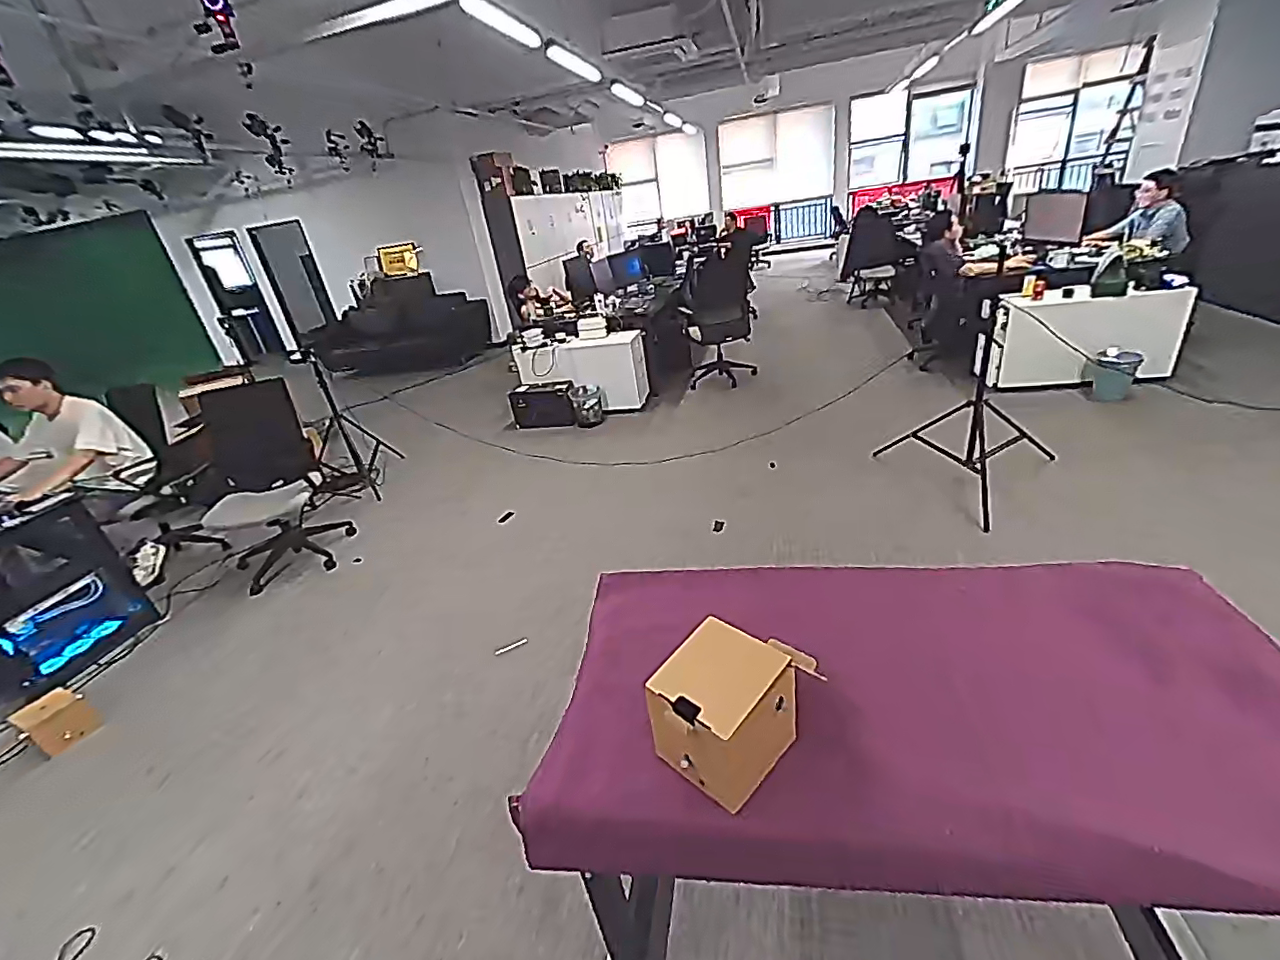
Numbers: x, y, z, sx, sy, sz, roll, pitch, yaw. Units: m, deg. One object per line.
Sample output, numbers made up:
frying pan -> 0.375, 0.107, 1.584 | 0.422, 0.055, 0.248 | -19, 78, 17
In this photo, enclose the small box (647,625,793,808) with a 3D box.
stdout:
small box -> 0.134, 0.379, 0.884 | 0.179, 0.176, 0.168 | -30, 32, -36
